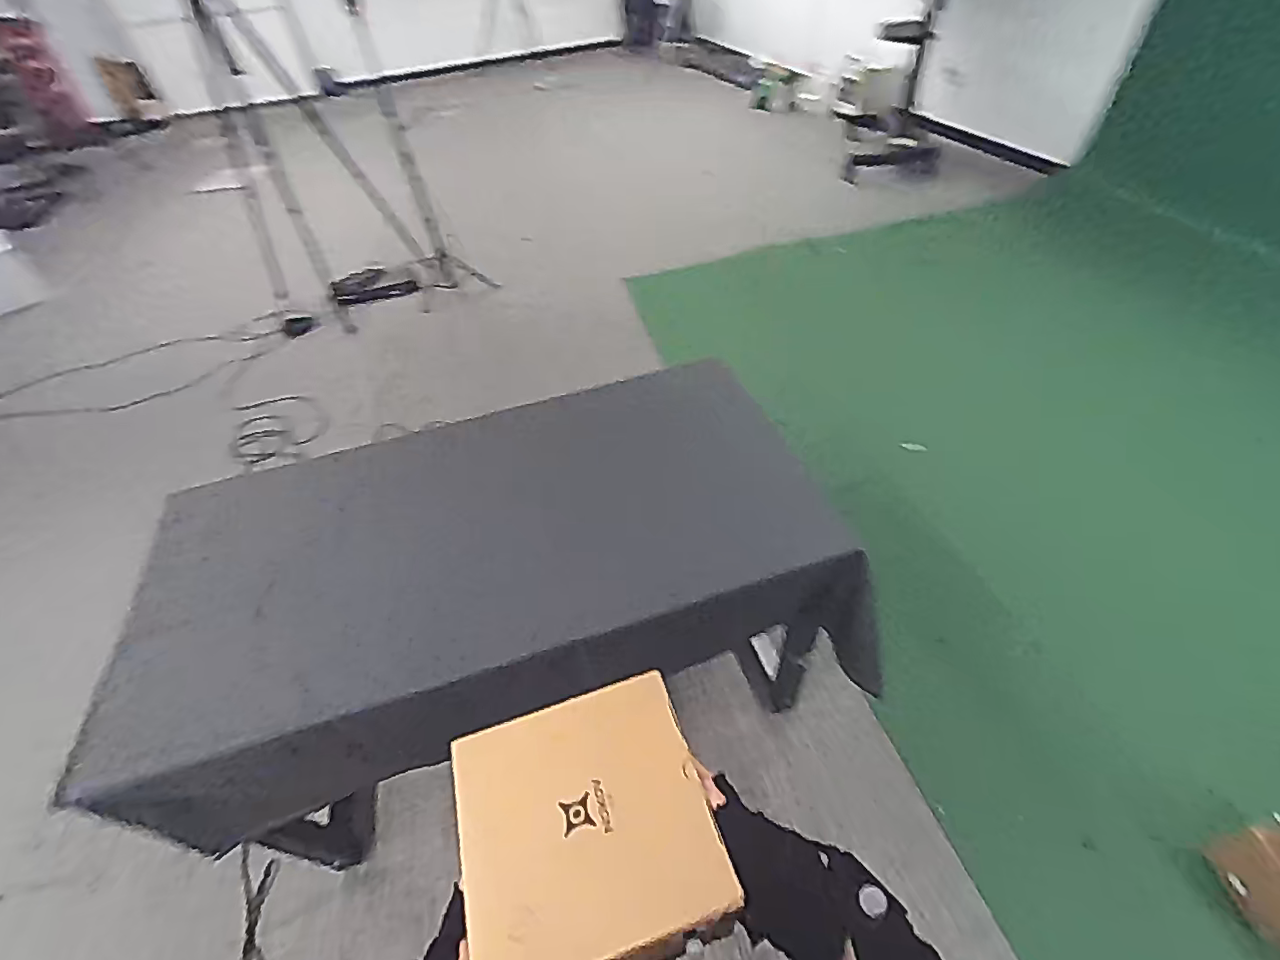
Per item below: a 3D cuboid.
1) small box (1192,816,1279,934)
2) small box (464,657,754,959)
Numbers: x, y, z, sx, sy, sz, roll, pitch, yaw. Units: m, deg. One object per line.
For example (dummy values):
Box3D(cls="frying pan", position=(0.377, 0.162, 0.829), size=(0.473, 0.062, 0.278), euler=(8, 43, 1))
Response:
Box3D(cls="small box", position=(1.273, 0.769, 1.060), size=(0.179, 0.176, 0.168), euler=(-8, 46, 0))
Box3D(cls="small box", position=(-0.027, 0.278, 0.435), size=(0.179, 0.176, 0.168), euler=(-14, 45, -11))
